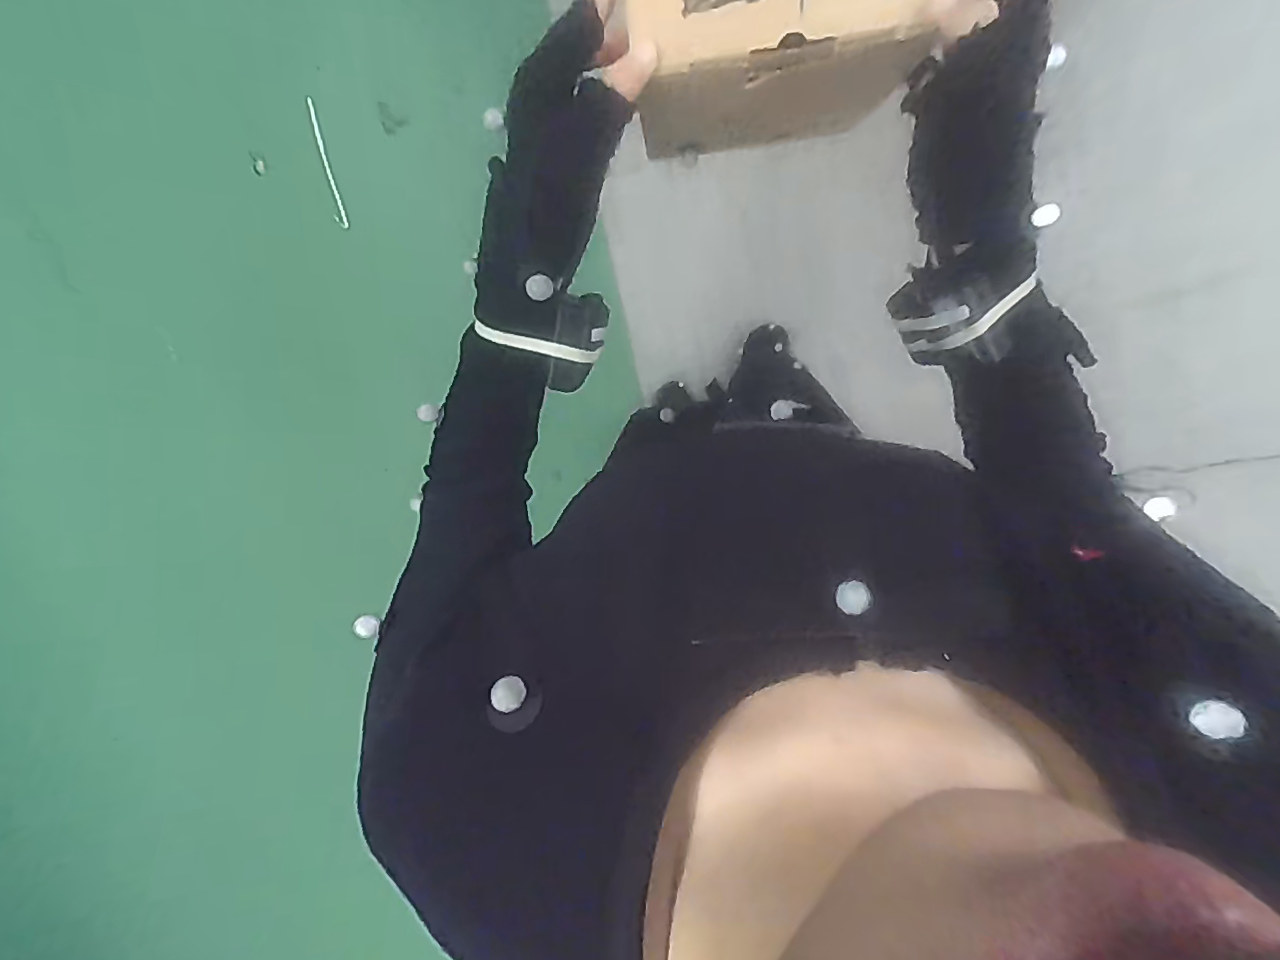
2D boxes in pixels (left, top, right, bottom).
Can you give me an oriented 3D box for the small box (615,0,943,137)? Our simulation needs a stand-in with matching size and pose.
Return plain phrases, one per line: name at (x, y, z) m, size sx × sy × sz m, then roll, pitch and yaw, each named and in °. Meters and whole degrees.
small box at (0.069, -0.331, 0.325) m, size 0.168 × 0.176 × 0.179 m, roll -5°, pitch 105°, yaw 6°
